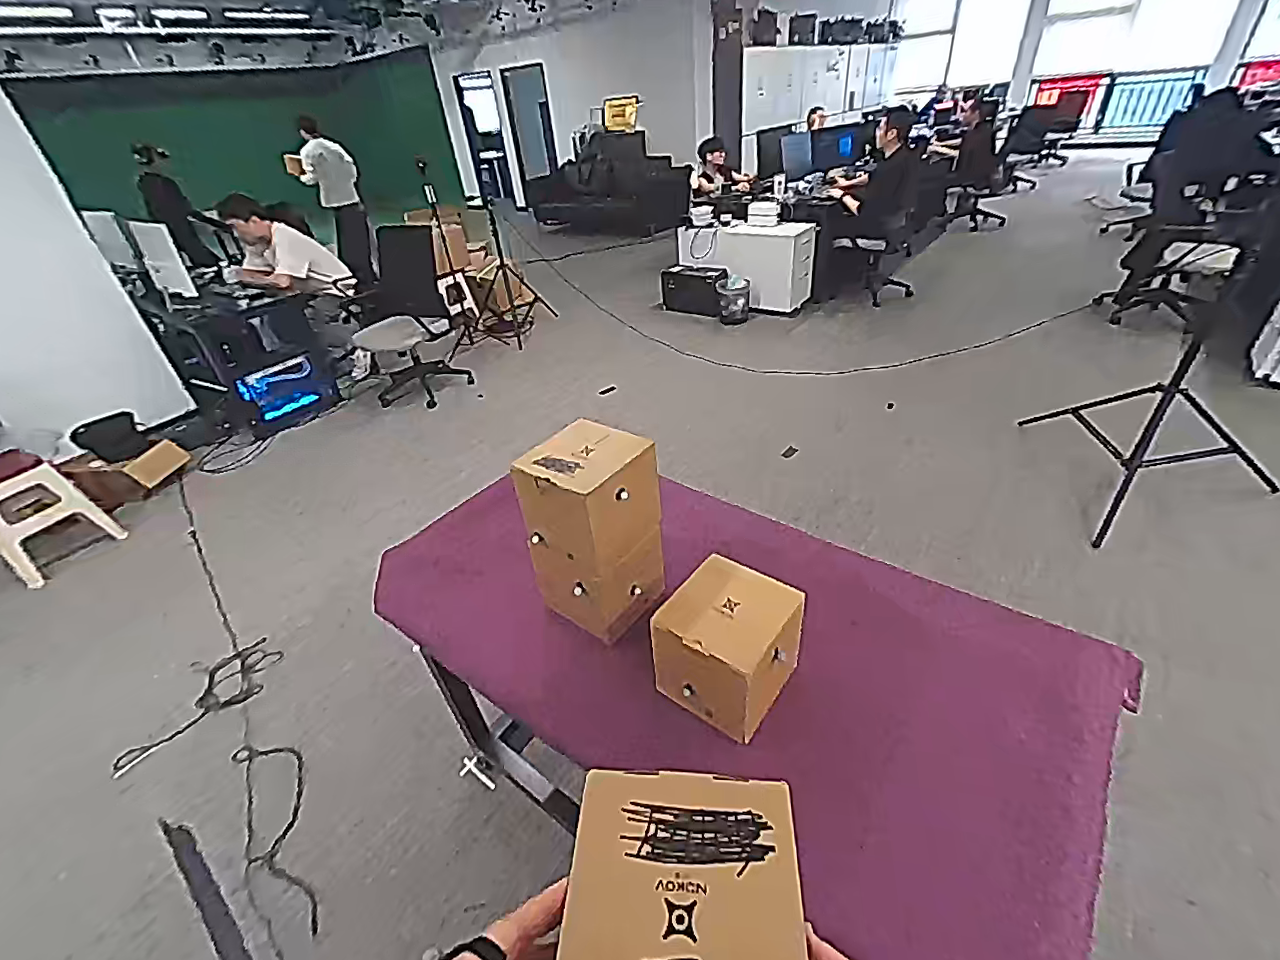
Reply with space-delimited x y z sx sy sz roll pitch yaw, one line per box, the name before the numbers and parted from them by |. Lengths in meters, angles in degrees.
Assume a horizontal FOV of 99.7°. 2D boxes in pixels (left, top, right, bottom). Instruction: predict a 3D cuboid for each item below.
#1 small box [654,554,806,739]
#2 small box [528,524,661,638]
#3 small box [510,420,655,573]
small box | 0.138 0.254 0.840 0.168 0.176 0.179 21 43 33
small box | -0.075 0.163 1.002 0.179 0.176 0.168 21 43 33
small box | -0.085 0.026 0.911 0.168 0.176 0.179 20 42 32
